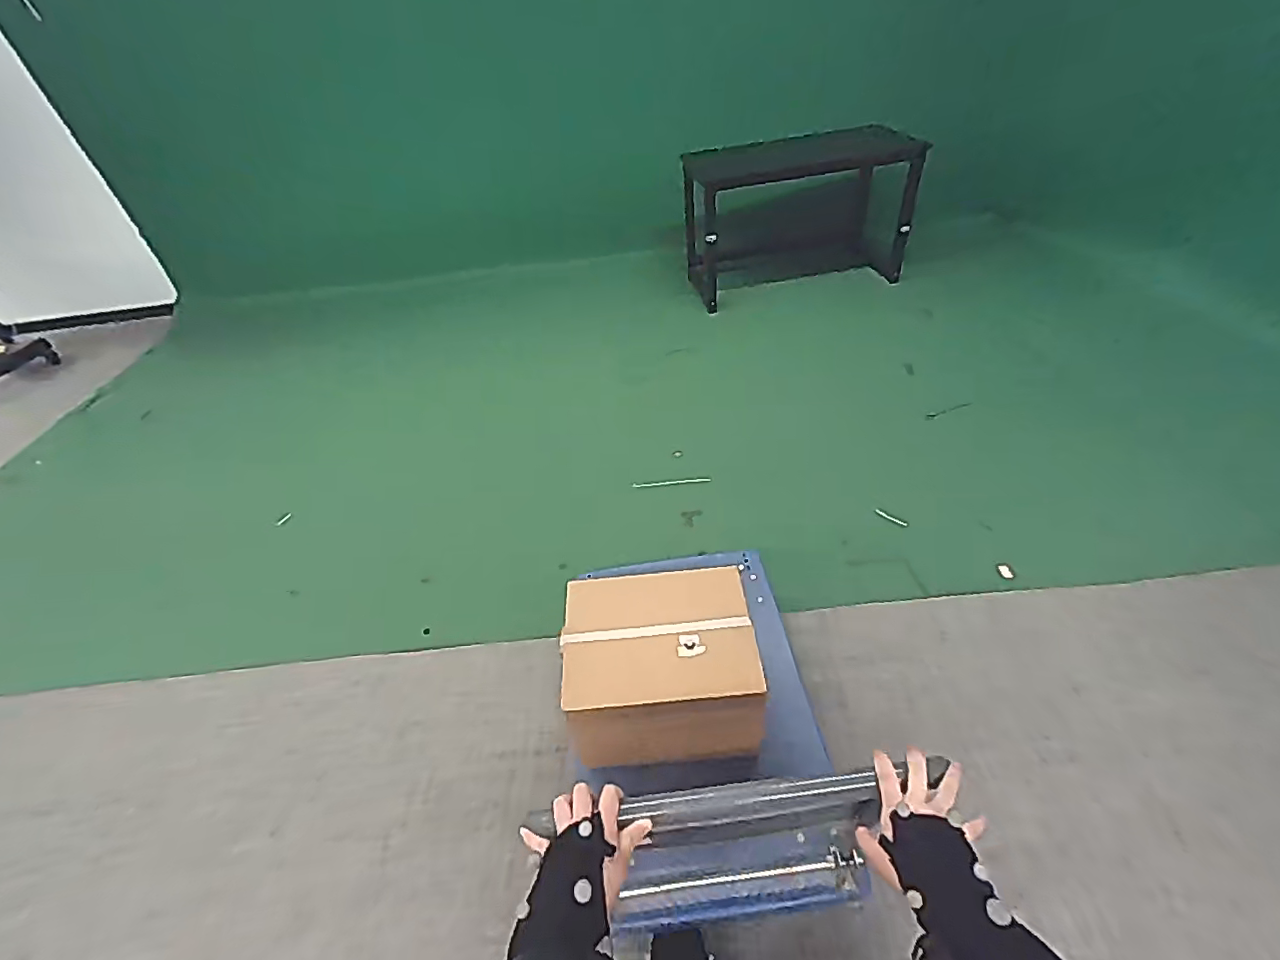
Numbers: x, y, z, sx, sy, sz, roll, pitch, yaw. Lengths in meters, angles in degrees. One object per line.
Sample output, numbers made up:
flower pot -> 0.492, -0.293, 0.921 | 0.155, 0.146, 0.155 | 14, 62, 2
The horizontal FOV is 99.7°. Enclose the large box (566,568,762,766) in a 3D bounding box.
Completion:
large box -> 0.048, 0.442, 1.279 | 0.408, 0.320, 0.320 | -5, 42, 1
